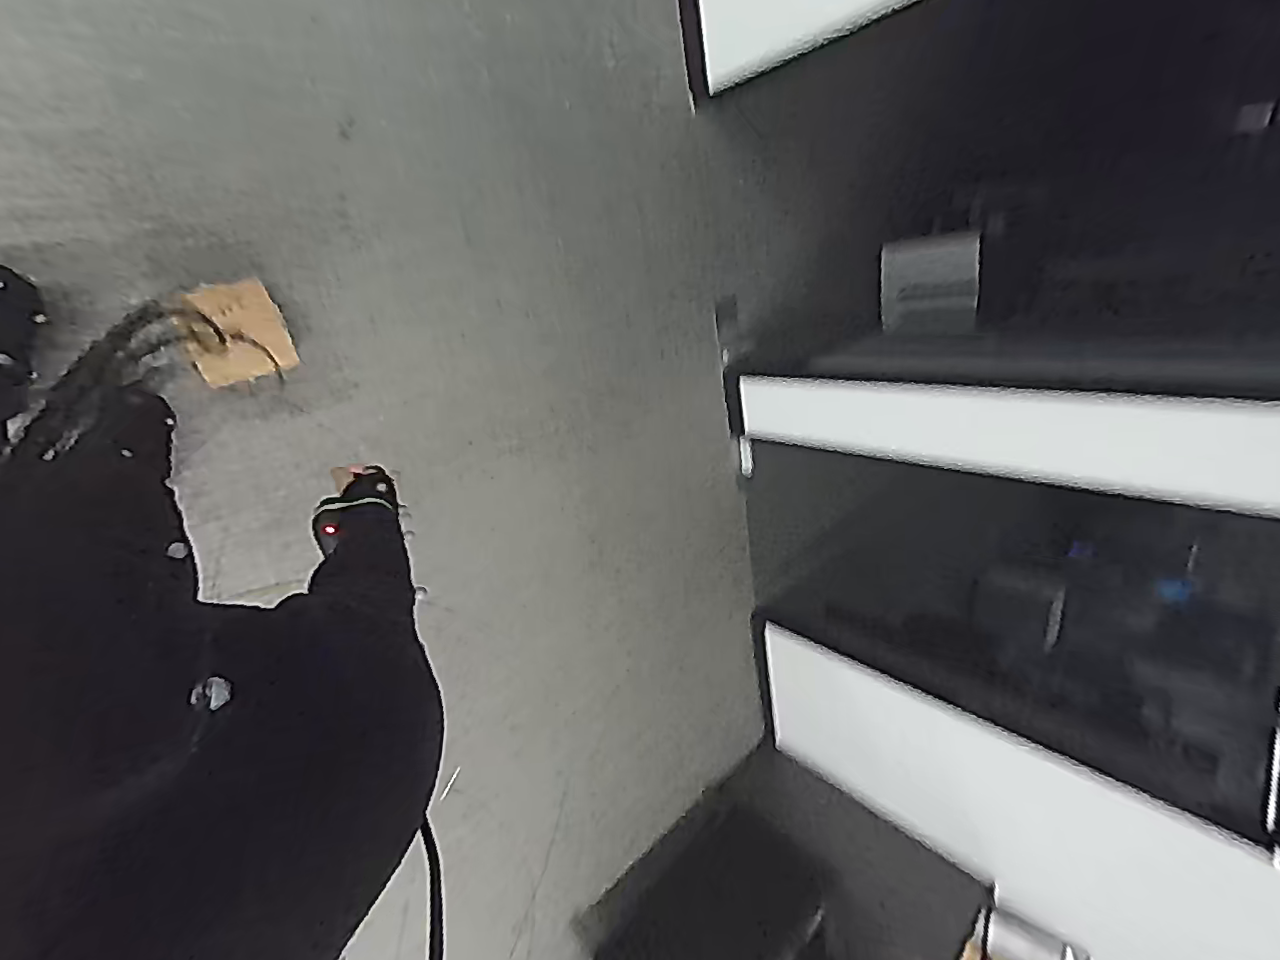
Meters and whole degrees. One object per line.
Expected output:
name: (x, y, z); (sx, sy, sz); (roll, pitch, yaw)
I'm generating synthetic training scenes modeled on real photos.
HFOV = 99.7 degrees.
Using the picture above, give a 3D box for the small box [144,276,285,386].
small box: (-0.855, -0.302, 1.092); (0.168, 0.176, 0.179); (-29, 119, -34)
